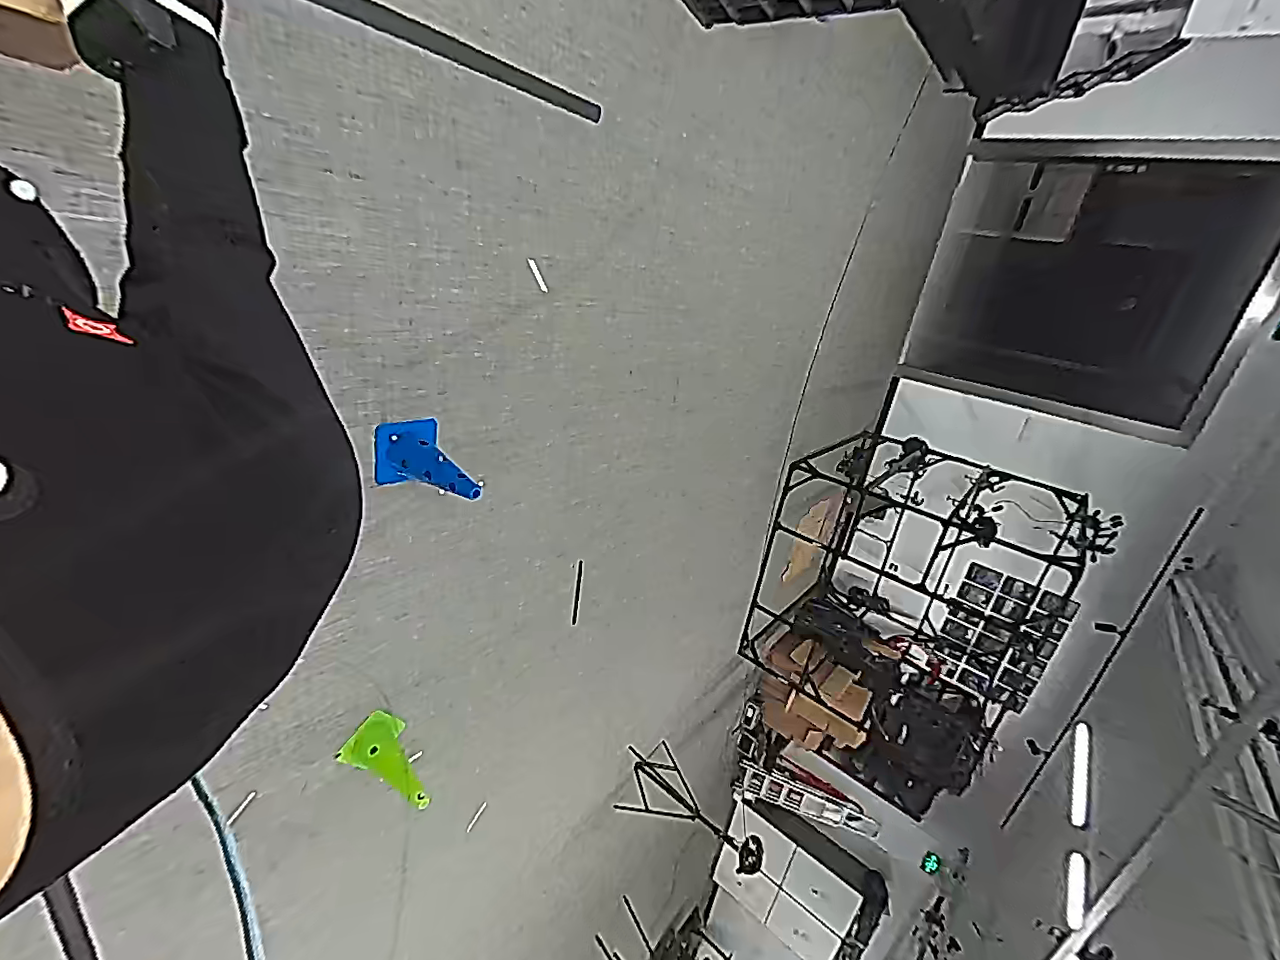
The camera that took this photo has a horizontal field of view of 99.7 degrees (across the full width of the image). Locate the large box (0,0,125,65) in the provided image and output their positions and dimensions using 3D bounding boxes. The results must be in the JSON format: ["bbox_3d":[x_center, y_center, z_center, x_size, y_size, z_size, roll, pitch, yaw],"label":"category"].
[{"bbox_3d":[-0.589,-0.482,0.277,0.408,0.320,0.320,-14,122,-50],"label":"large box"}]

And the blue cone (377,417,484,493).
[{"bbox_3d":[-0.602,-0.041,1.604,0.192,0.380,0.193,-15,123,-52],"label":"blue cone"}]

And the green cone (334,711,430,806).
[{"bbox_3d":[-0.864,1.019,1.904,0.202,0.368,0.200,-52,146,-22],"label":"green cone"}]
